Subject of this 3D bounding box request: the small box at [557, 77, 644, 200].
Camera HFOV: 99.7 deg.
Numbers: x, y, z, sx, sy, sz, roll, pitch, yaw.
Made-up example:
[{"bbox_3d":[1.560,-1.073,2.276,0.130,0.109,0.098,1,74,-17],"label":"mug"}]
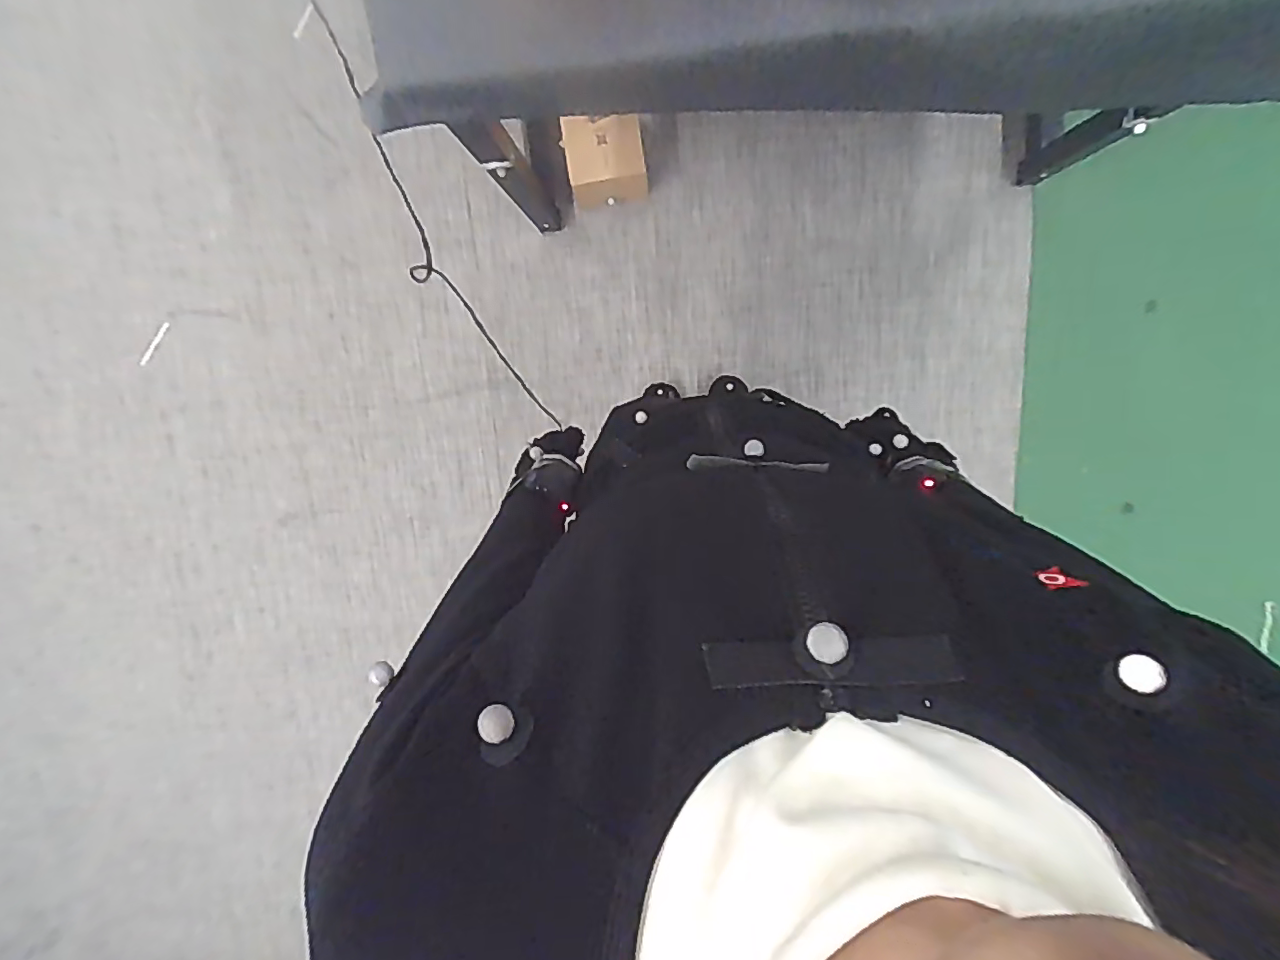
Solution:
[{"bbox_3d":[-0.082,-0.757,1.217,0.168,0.176,0.179,-7,102,4],"label":"small box"}]
